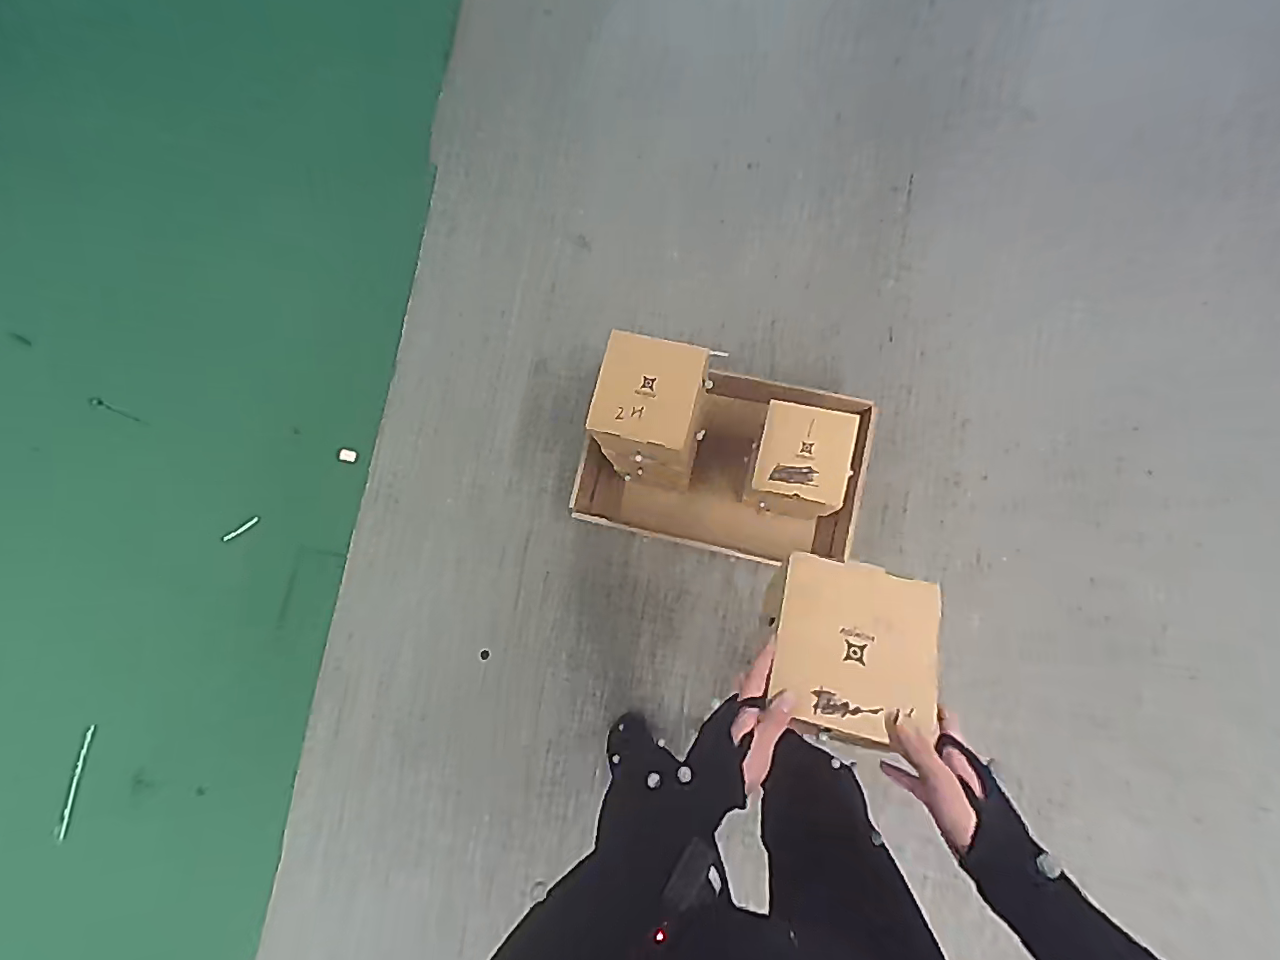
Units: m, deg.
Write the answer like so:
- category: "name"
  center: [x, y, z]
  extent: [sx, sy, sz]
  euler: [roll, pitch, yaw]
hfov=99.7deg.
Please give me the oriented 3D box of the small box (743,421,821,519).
- category: "small box"
  center: [0.330, -0.017, 1.221]
  extent: [0.168, 0.176, 0.179]
  euler: [13, 84, 11]

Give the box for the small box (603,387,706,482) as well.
- category: "small box"
  center: [0.035, -0.106, 1.110]
  extent: [0.168, 0.176, 0.179]
  euler: [13, 84, 9]

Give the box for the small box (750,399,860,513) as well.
- category: "small box"
  center: [0.314, -0.039, 1.059]
  extent: [0.168, 0.176, 0.179]
  euler: [12, 83, 11]

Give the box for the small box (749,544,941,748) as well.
- category: "small box"
  center: [0.231, 0.199, 0.637]
  extent: [0.168, 0.176, 0.179]
  euler: [12, 66, 9]

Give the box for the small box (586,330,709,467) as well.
- category: "small box"
  center: [0.020, -0.134, 0.949]
  extent: [0.168, 0.176, 0.179]
  euler: [14, 84, 9]
